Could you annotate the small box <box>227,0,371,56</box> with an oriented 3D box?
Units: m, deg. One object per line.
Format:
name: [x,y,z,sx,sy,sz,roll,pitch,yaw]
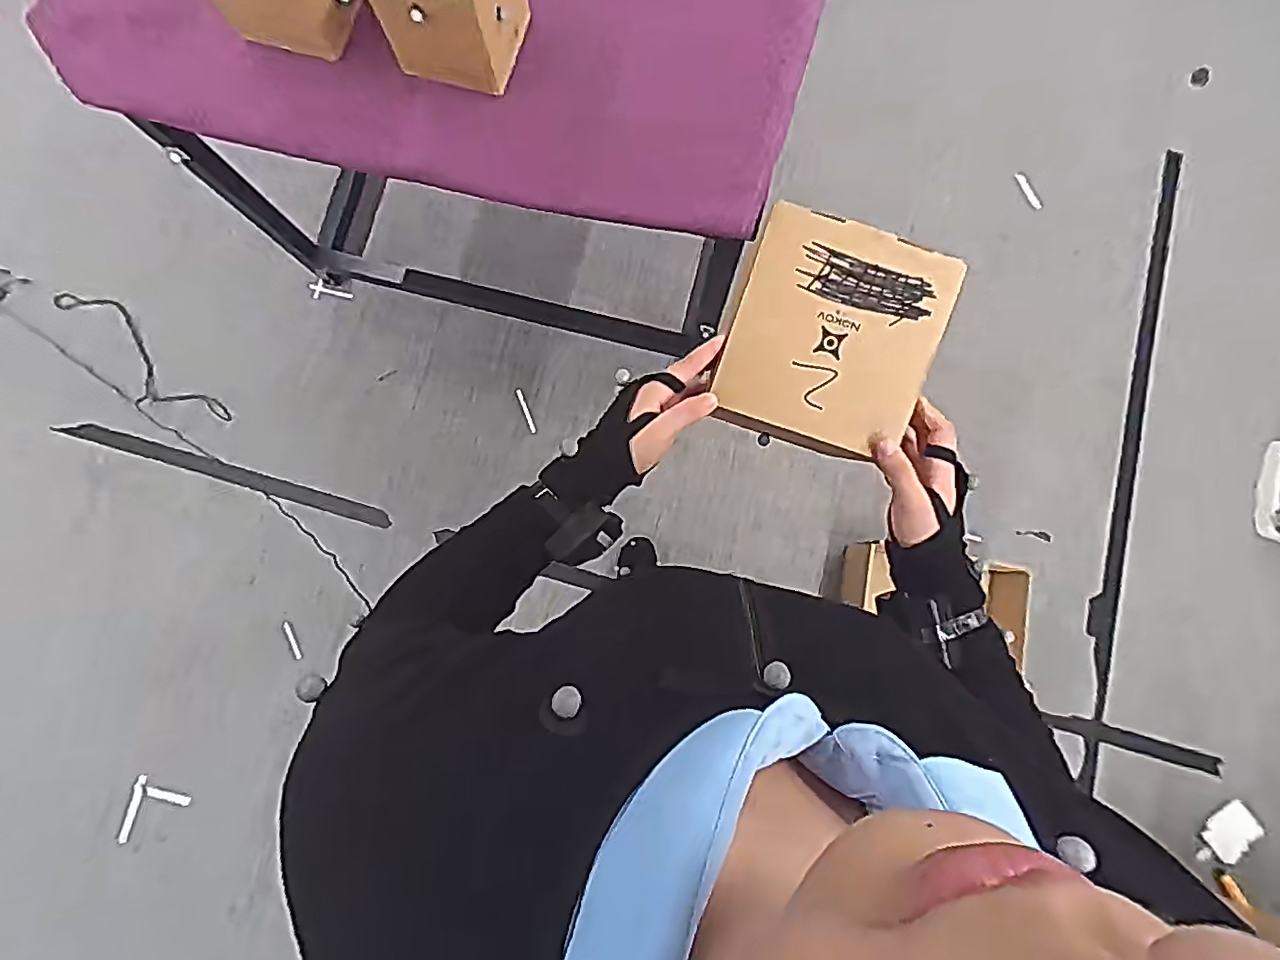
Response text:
small box: [-0.556,-0.813,0.841,0.179,0.176,0.168,15,83,2]

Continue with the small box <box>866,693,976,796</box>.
small box: [0.679,0.636,1.324,0.179,0.176,0.168,12,83,1]

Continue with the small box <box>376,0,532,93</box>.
small box: [-0.280,-0.746,0.832,0.179,0.176,0.168,15,82,2]
